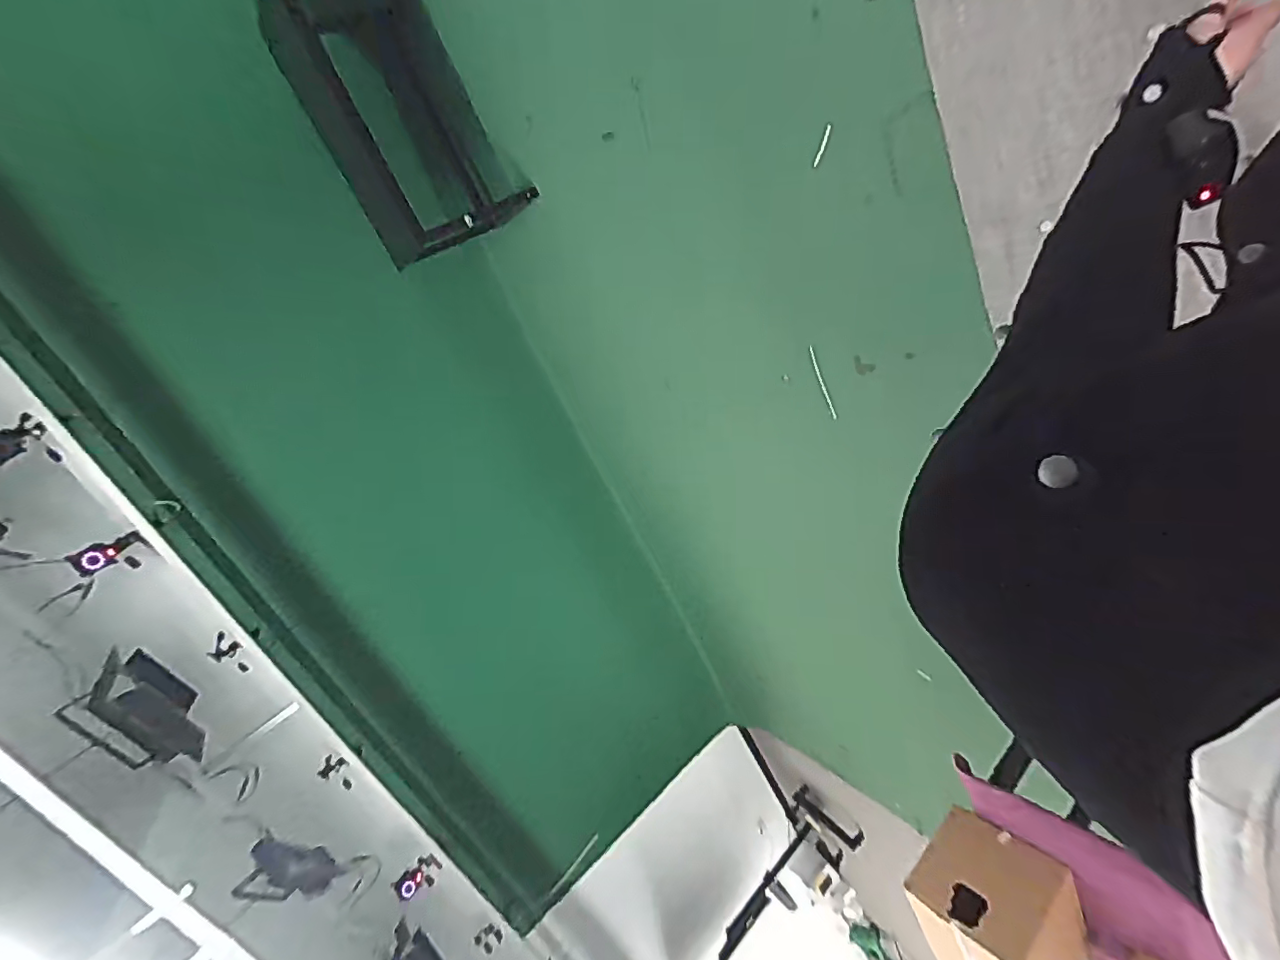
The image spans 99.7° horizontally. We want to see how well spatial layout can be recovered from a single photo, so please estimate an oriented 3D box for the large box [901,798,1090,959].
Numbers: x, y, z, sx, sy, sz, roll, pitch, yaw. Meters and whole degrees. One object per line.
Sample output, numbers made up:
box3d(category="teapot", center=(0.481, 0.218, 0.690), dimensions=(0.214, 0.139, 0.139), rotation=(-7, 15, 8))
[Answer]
box3d(category="large box", center=(1.037, 1.248, 1.574), dimensions=(0.320, 0.320, 0.408), rotation=(6, 128, 57))
